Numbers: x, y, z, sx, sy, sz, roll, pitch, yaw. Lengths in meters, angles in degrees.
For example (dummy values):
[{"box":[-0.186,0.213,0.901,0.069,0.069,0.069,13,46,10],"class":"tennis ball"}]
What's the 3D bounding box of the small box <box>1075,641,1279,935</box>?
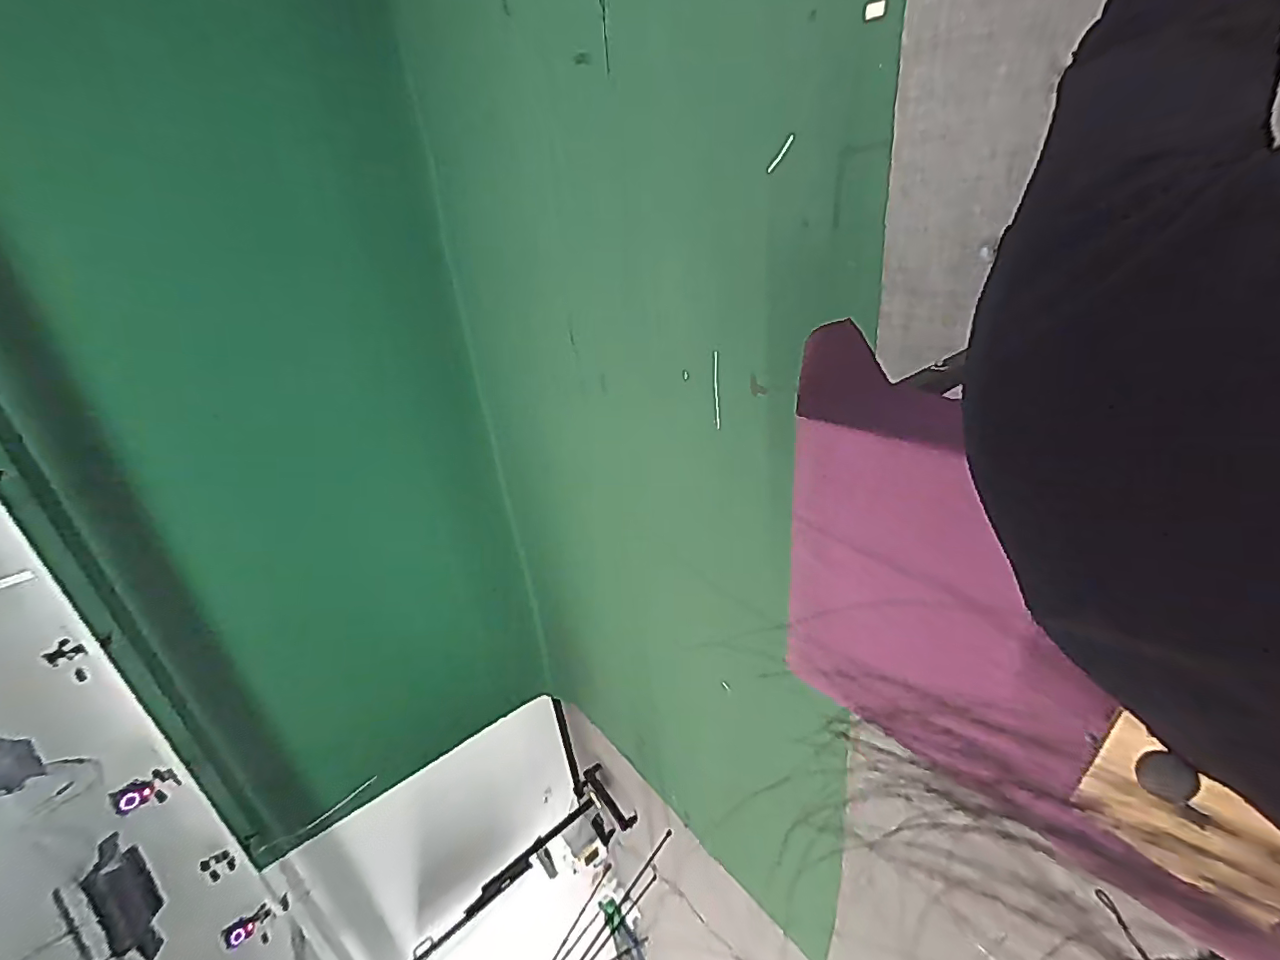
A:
[{"box":[0.620,0.314,0.582,0.168,0.176,0.179,29,132,43],"class":"small box"}]
